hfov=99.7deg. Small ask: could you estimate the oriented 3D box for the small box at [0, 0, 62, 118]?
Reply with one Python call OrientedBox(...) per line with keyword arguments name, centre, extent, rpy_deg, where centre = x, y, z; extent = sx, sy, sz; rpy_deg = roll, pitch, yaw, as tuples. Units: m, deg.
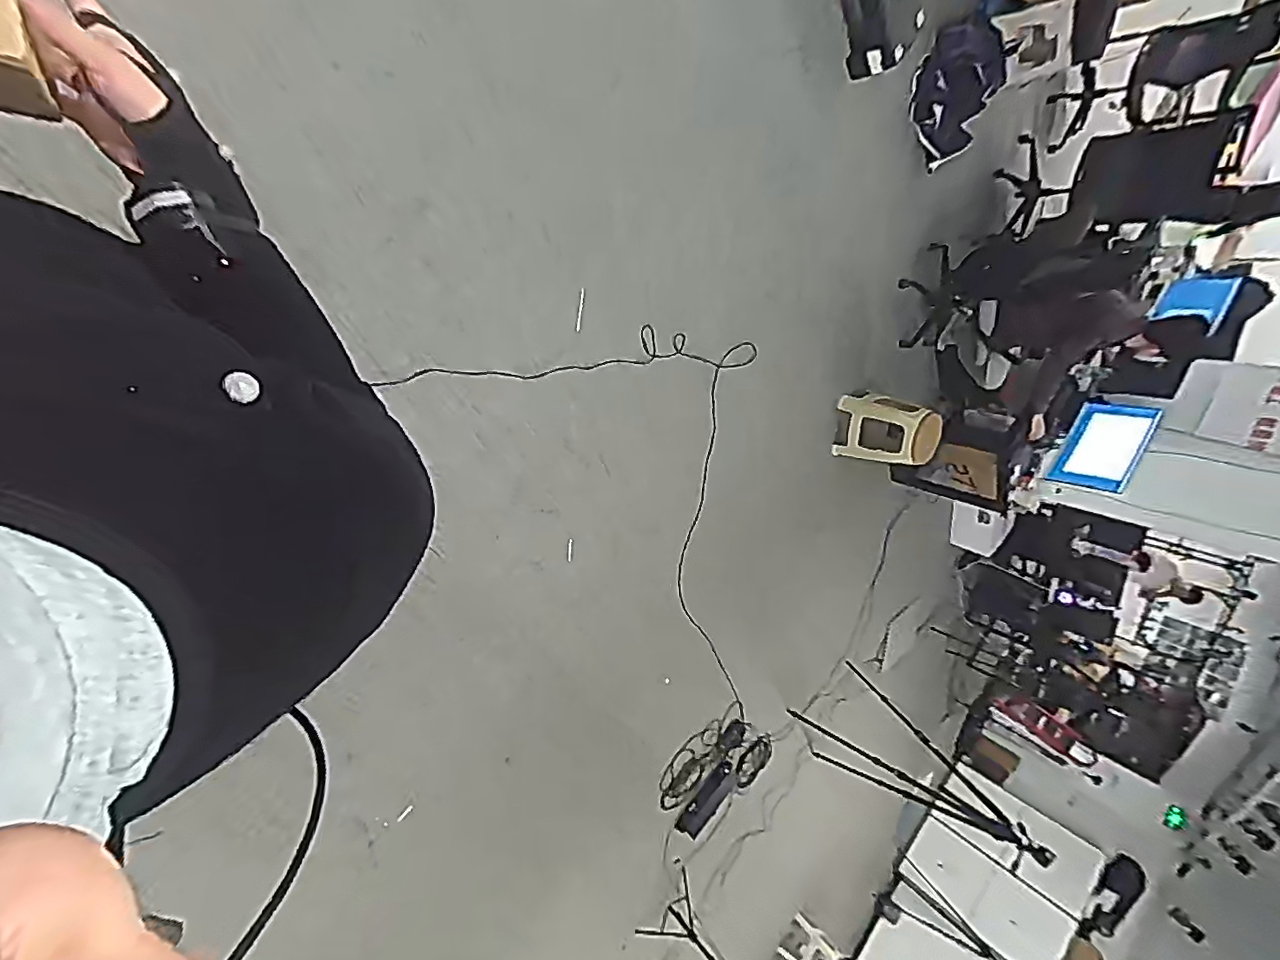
OrientedBox(name="small box", centre=(-0.459, -0.327, 0.298), extent=(0.168, 0.176, 0.179), rpy_deg=(-13, 115, -41))
